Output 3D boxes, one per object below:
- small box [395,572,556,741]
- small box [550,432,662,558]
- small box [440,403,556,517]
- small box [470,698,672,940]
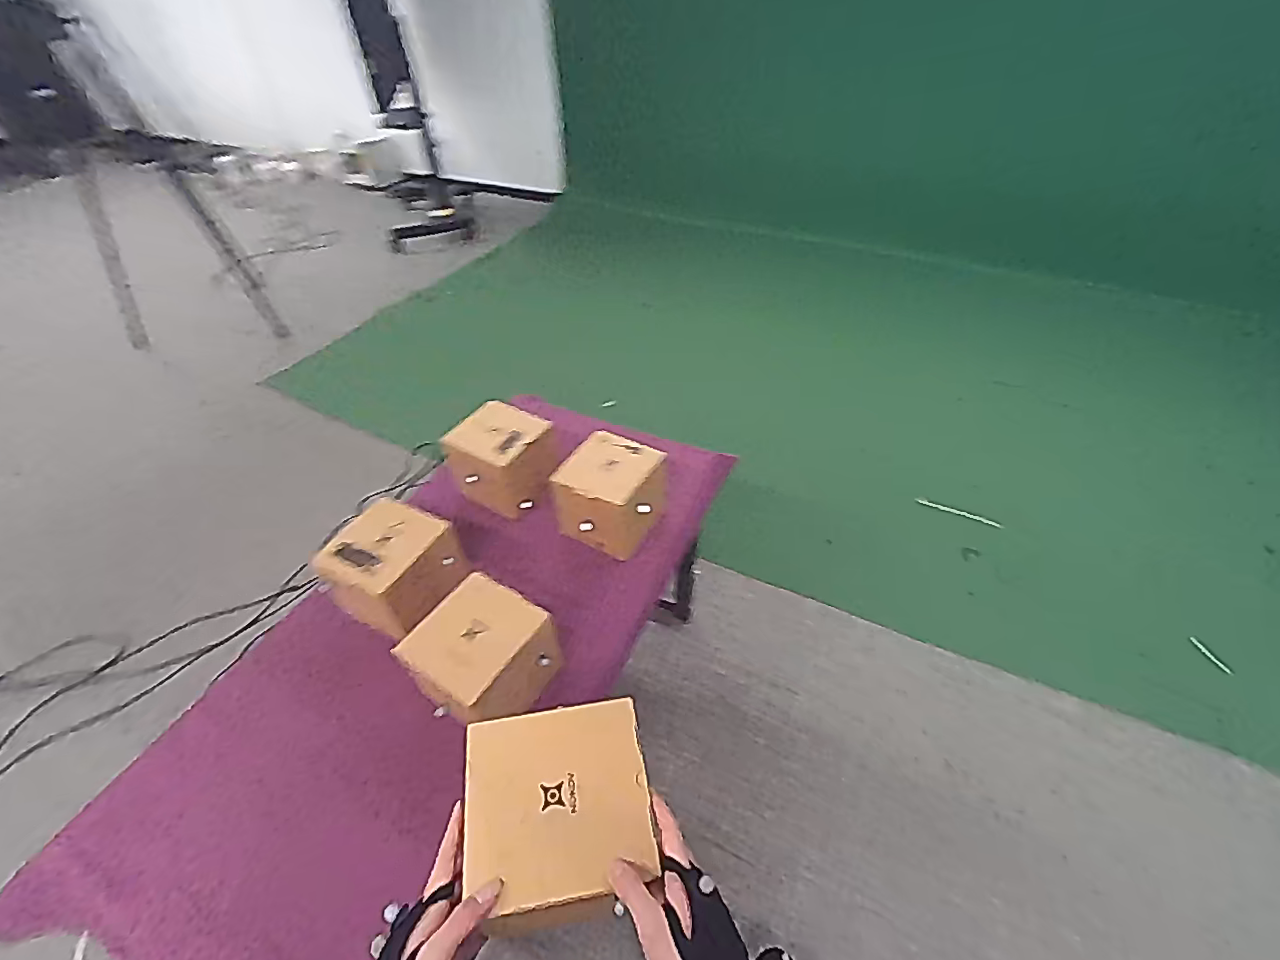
[{"bbox_3d":[-0.253,0.291,0.880,0.168,0.176,0.179,23,50,25],"label":"small box"},{"bbox_3d":[-0.061,0.033,1.135,0.168,0.176,0.179,21,50,22],"label":"small box"},{"bbox_3d":[-0.309,-0.042,1.219,0.179,0.176,0.168,22,49,23],"label":"small box"},{"bbox_3d":[-0.071,0.356,0.570,0.179,0.176,0.168,-5,45,-9],"label":"small box"}]
